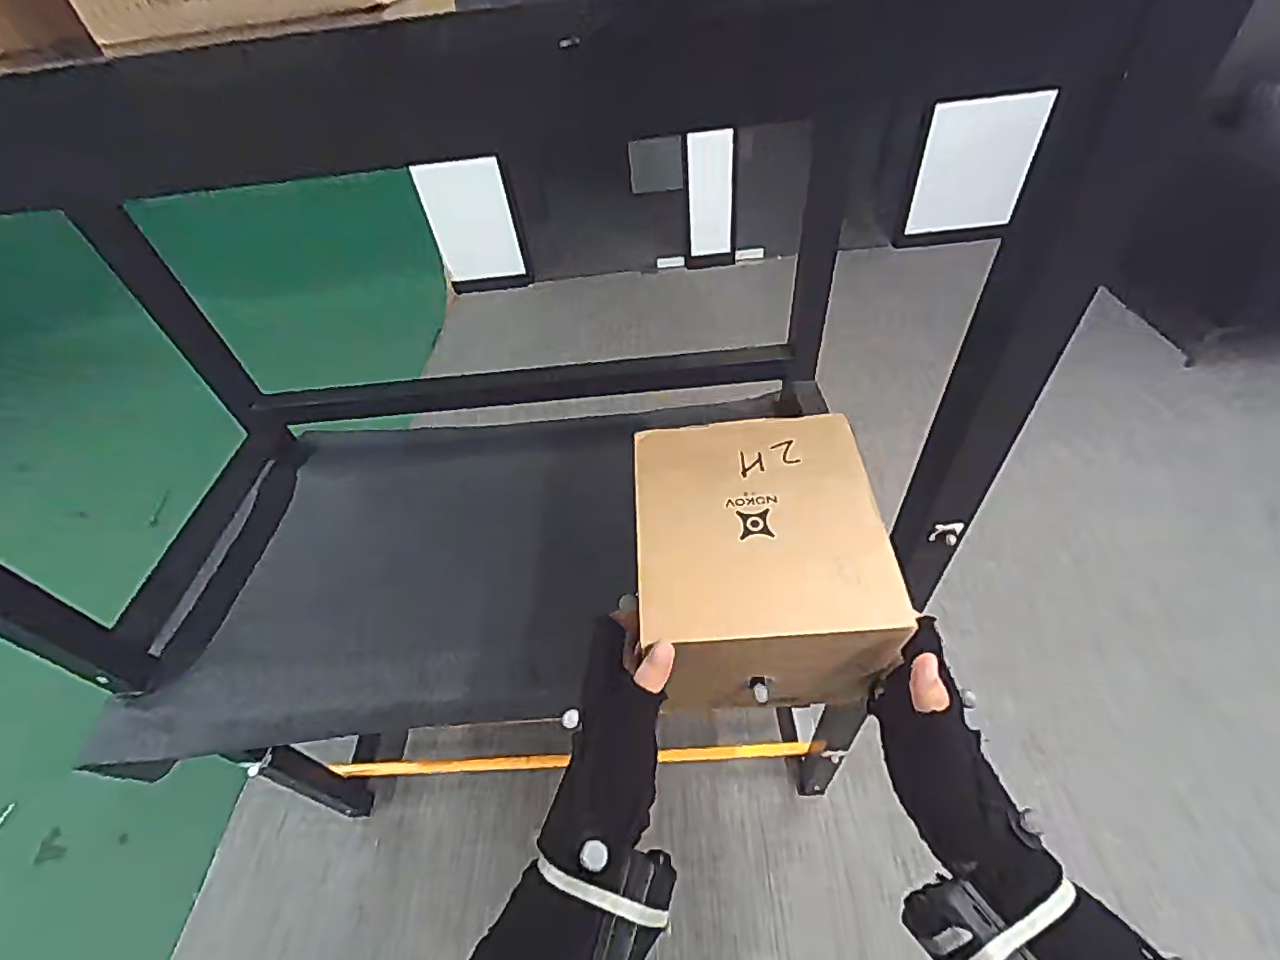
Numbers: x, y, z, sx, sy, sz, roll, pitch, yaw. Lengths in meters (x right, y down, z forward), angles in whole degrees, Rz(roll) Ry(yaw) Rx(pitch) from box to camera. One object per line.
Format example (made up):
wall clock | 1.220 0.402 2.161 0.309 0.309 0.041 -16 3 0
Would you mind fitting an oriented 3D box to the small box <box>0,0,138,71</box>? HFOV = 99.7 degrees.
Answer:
small box | -0.470 -0.344 0.317 0.168 0.176 0.179 -4 46 4
